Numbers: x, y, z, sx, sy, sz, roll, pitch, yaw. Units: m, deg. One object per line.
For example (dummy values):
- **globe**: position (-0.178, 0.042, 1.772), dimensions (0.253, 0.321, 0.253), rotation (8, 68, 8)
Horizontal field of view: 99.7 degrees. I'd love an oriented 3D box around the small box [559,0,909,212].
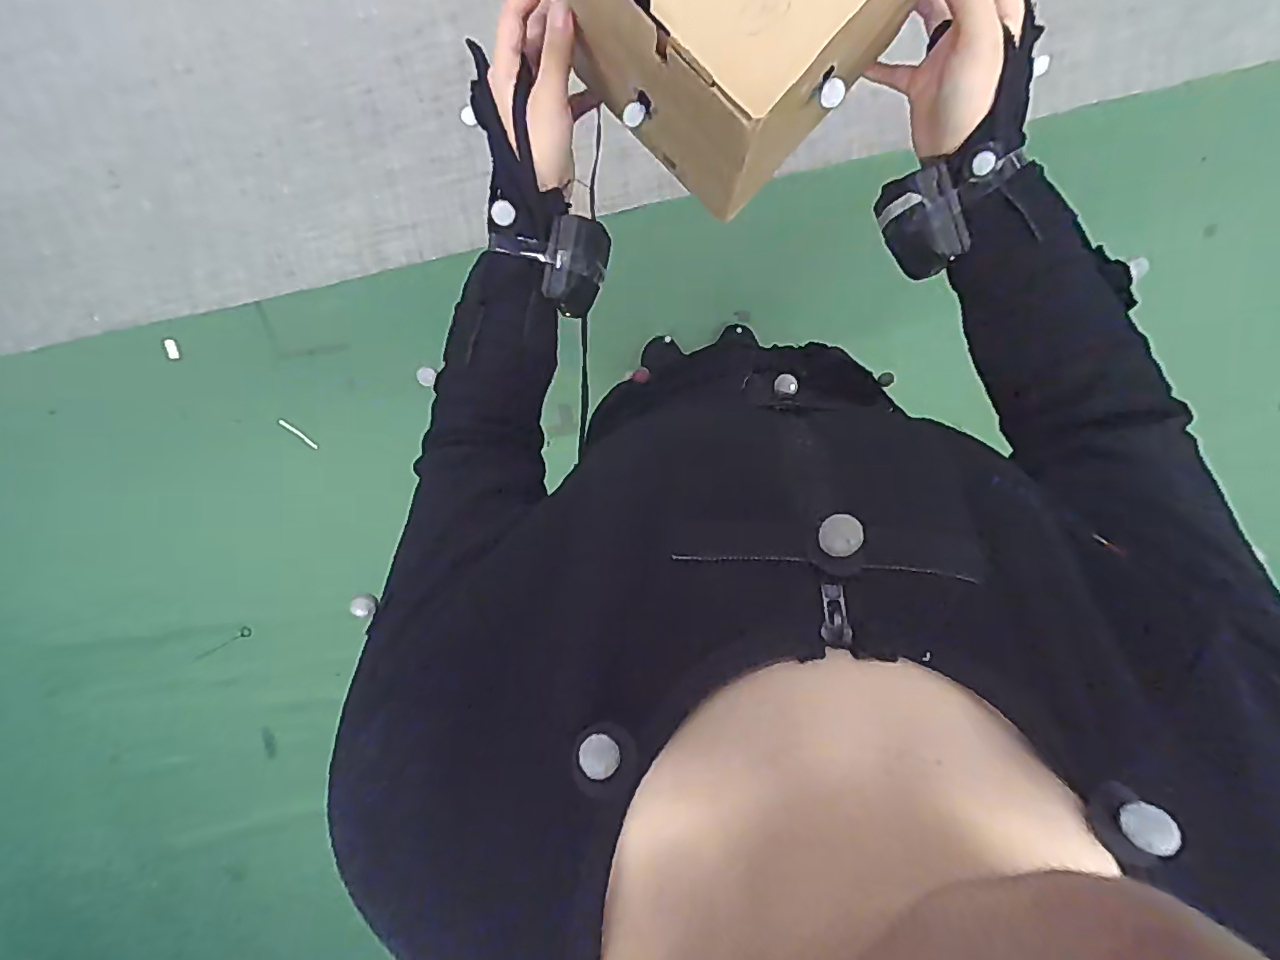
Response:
- **small box**: position (0.062, -0.306, 0.335), dimensions (0.168, 0.176, 0.179), rotation (44, 100, -4)
